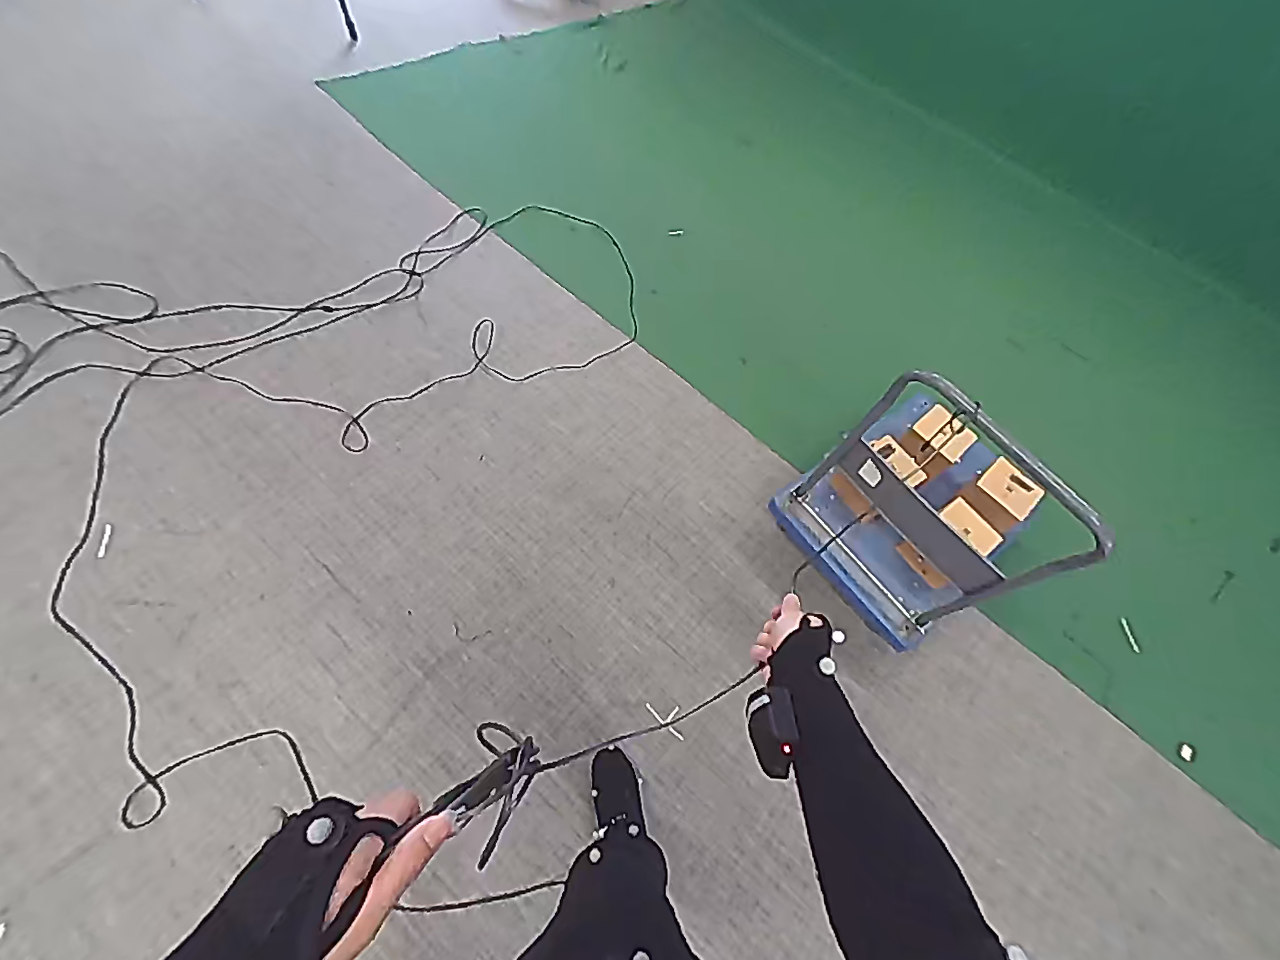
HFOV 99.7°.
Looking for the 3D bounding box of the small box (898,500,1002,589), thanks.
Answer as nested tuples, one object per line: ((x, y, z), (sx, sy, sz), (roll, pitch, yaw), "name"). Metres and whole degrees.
((0.916, 0.194, 1.613), (0.179, 0.176, 0.168), (-30, 70, -25), "small box")

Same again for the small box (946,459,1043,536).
((1.125, 0.069, 1.730), (0.179, 0.176, 0.168), (-35, 71, -26), "small box")
